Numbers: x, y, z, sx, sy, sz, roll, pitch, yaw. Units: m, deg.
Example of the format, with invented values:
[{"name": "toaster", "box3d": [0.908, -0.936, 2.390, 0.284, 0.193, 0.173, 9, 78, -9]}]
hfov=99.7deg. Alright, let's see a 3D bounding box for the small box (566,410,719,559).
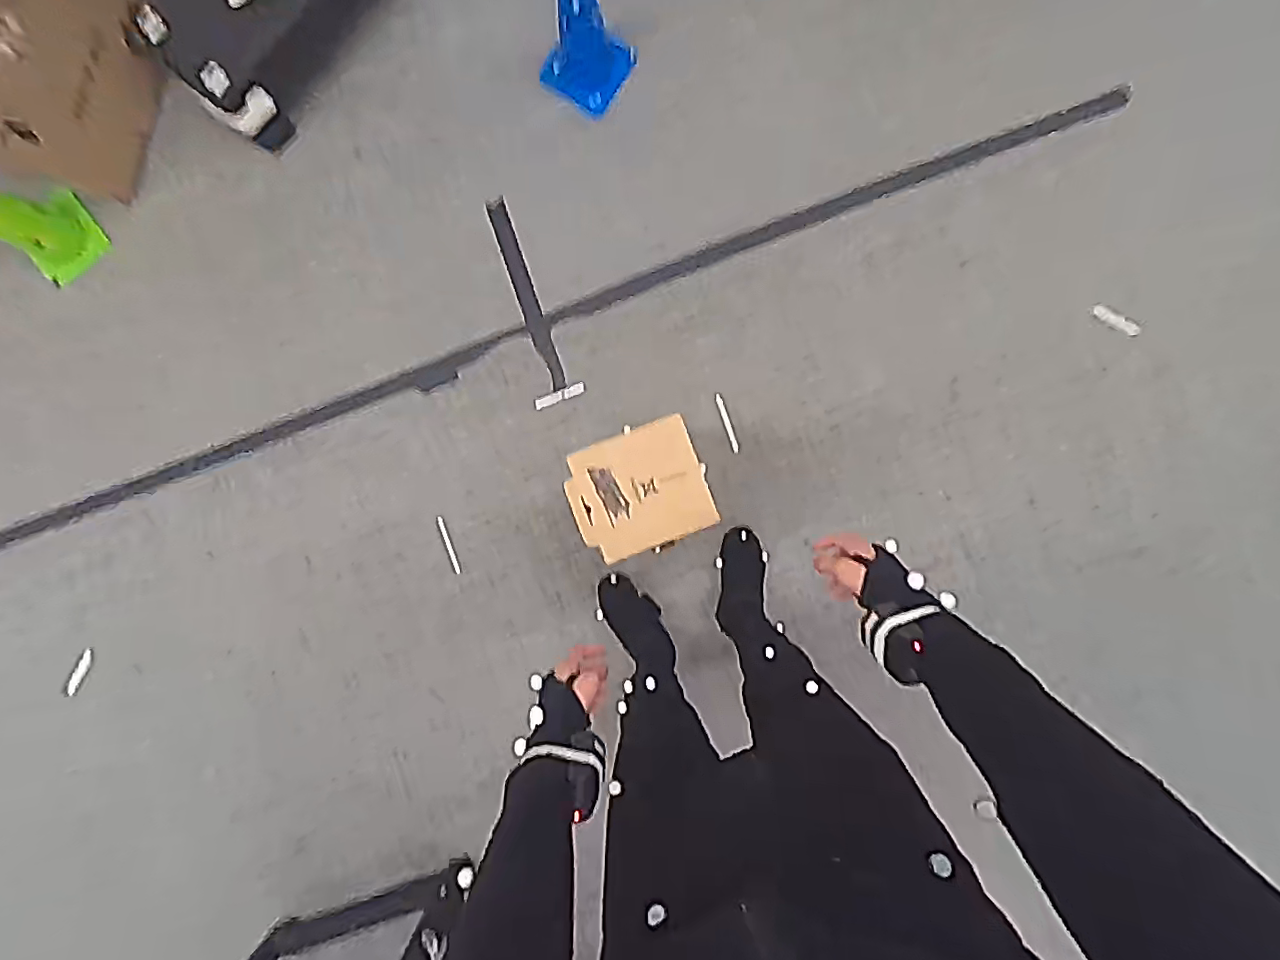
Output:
[{"name": "small box", "box3d": [0.006, 0.007, 0.833, 0.179, 0.176, 0.168, -21, 91, 1]}]
